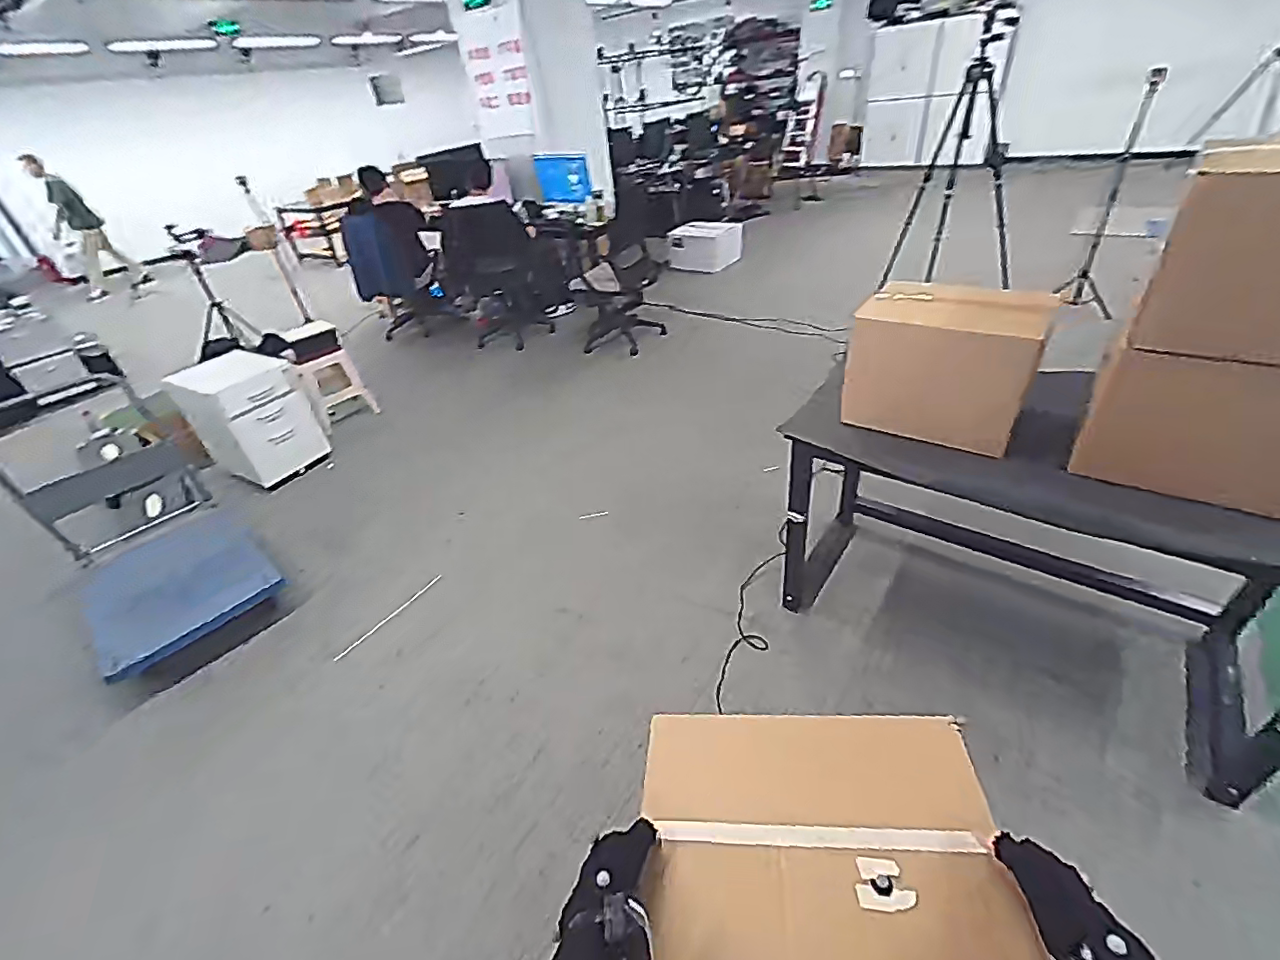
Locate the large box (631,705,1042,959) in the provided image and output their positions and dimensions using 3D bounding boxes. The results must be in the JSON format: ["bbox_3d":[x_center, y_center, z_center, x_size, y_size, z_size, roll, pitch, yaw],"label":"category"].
[{"bbox_3d":[0.217,0.527,0.717,0.408,0.320,0.320,-4,34,10],"label":"large box"}]
